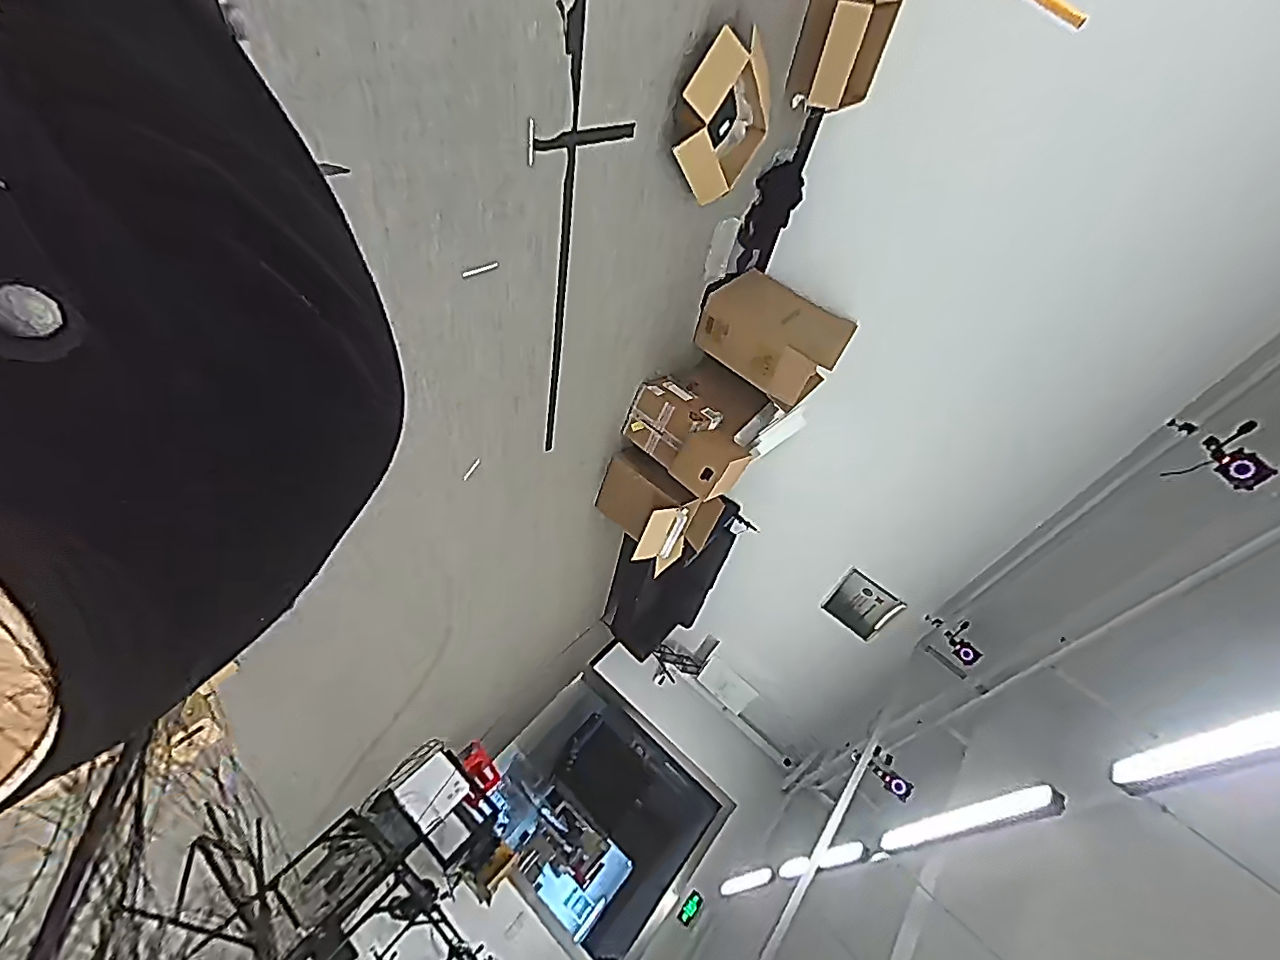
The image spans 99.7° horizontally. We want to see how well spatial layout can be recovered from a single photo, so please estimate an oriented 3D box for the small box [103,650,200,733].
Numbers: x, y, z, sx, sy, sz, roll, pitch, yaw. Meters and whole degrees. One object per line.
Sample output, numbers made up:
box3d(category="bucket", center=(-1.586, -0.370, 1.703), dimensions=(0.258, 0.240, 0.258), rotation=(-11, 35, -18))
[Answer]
box3d(category="small box", center=(-1.630, 0.699, 1.805), dimensions=(0.168, 0.176, 0.179), rotation=(-35, 155, -38))
